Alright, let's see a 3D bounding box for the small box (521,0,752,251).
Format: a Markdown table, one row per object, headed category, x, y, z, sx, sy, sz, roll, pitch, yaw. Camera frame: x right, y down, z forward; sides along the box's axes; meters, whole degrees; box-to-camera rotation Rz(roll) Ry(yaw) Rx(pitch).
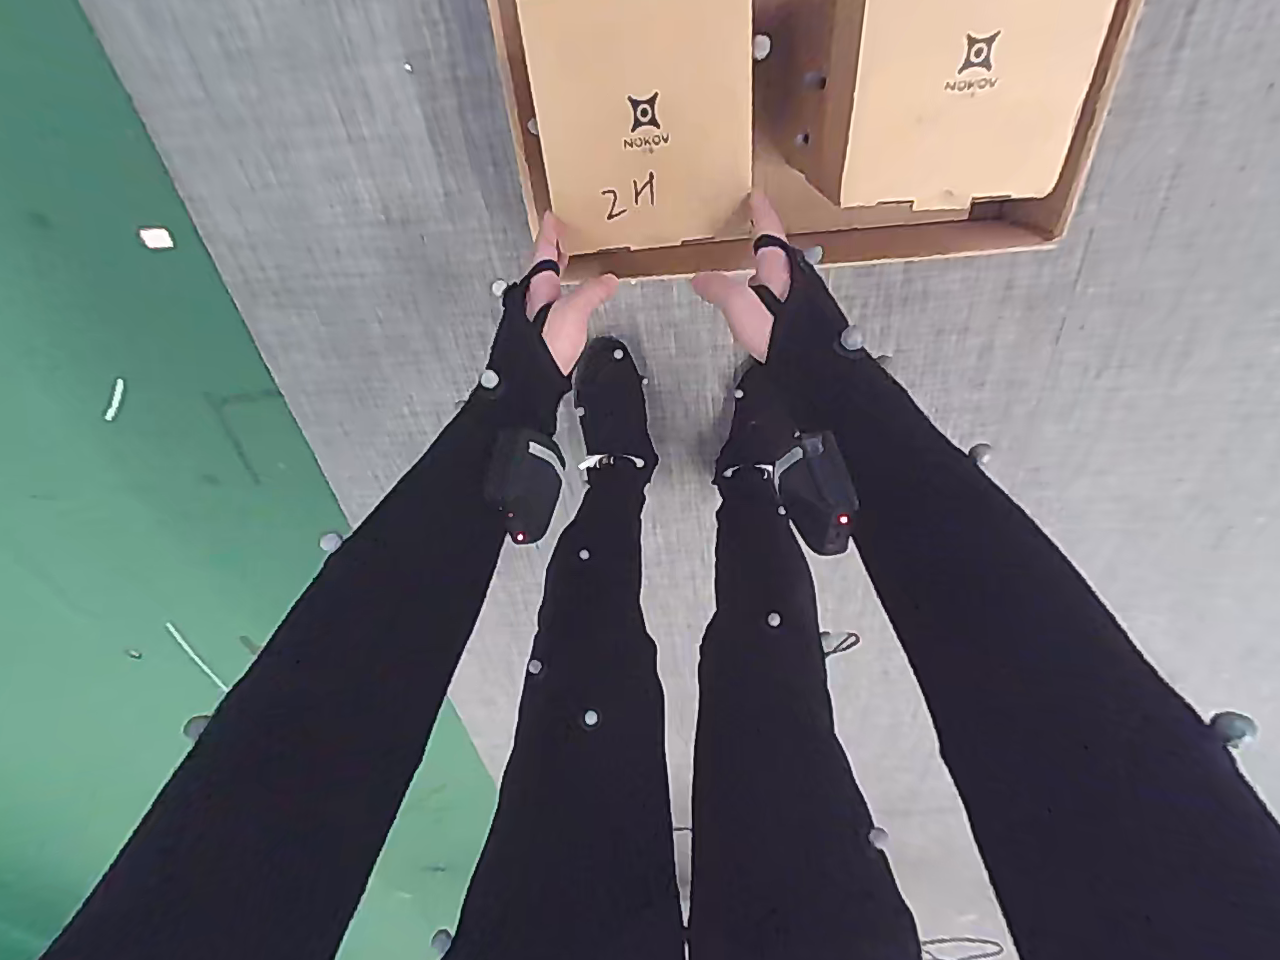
| category | x | y | z | sx | sy | sz | roll | pitch | yaw |
| --- | --- | --- | --- | --- | --- | --- | --- | --- | --- |
| small box | 0.006 | -0.318 | 0.484 | 0.168 | 0.176 | 0.179 | -3 | 123 | 6 |
